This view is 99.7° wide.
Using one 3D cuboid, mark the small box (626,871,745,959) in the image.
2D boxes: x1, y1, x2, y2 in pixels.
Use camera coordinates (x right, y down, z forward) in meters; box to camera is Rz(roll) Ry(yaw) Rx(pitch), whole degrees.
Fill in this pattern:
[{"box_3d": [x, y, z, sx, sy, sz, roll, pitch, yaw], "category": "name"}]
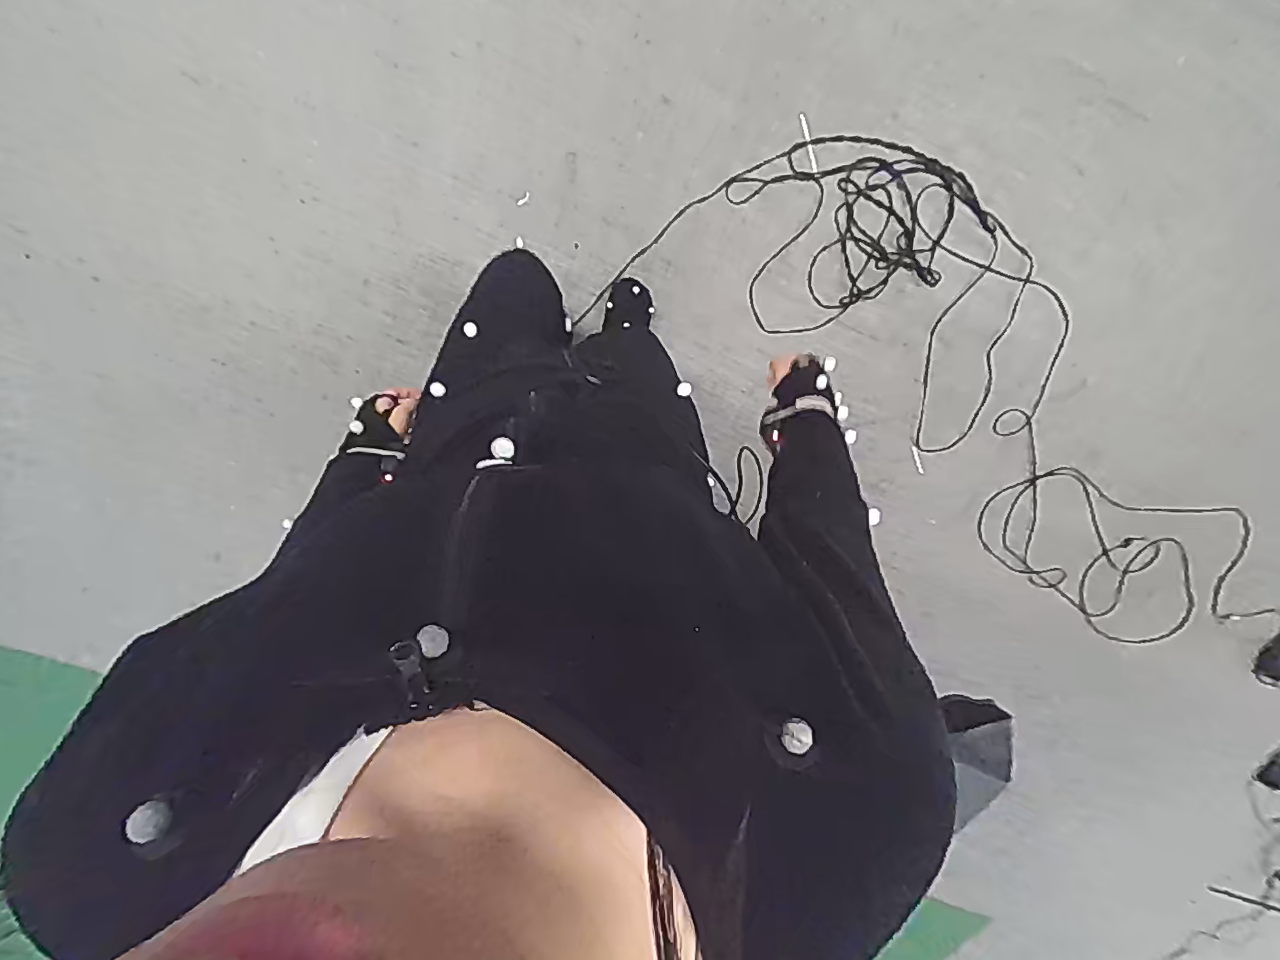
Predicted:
[{"box_3d": [0.086, 0.893, 1.031, 0.179, 0.176, 0.168, 28, 107, -13], "category": "small box"}]
